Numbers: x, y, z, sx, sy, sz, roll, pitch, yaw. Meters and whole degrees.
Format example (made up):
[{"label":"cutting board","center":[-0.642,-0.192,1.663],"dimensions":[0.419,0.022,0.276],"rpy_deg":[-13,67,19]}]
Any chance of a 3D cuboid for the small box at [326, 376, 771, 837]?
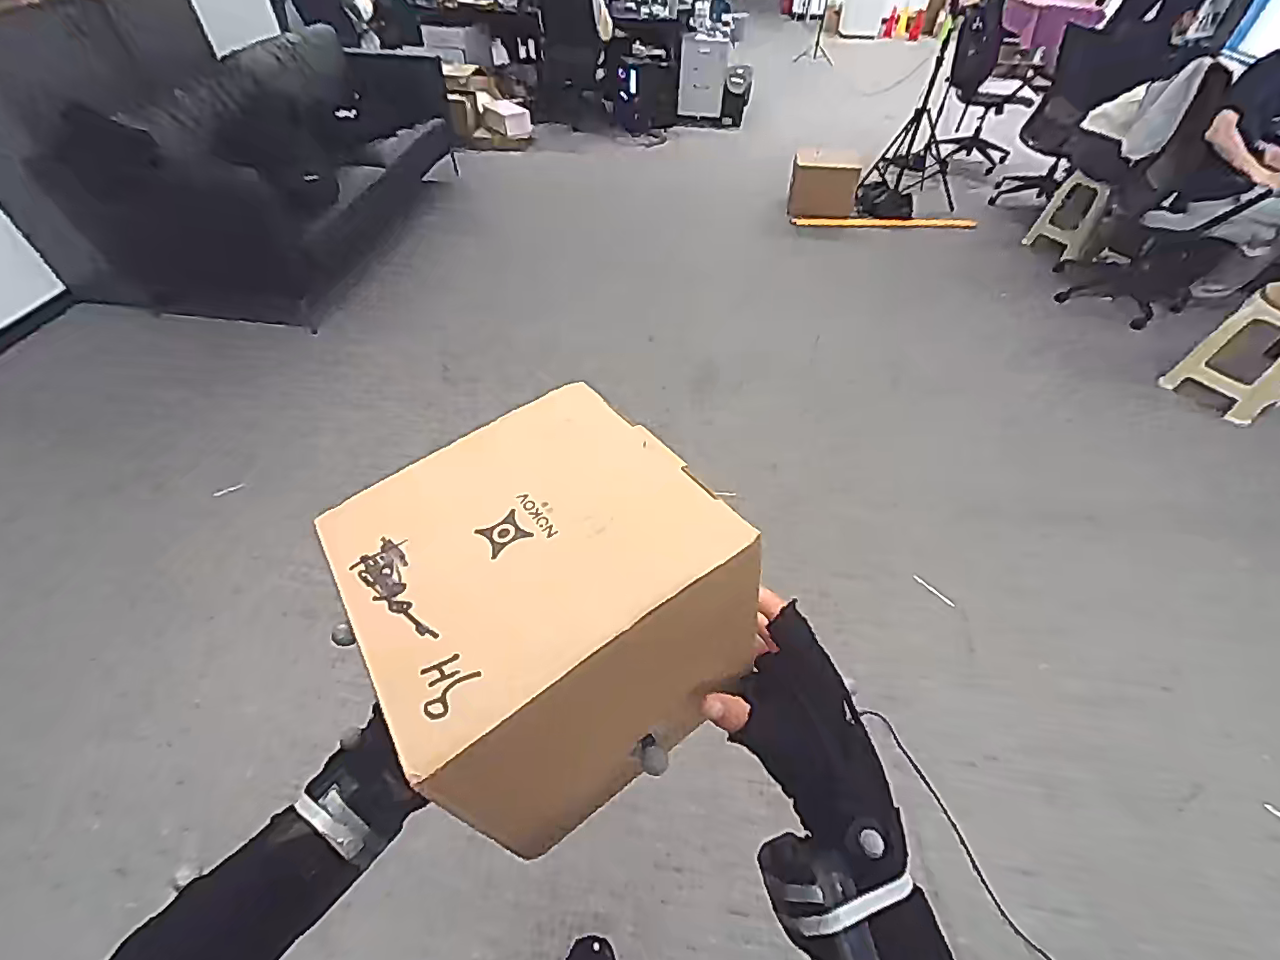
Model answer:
[{"label":"small box","center":[-0.047,0.073,0.329],"dimensions":[0.179,0.176,0.168],"rpy_deg":[-30,50,-19]}]
